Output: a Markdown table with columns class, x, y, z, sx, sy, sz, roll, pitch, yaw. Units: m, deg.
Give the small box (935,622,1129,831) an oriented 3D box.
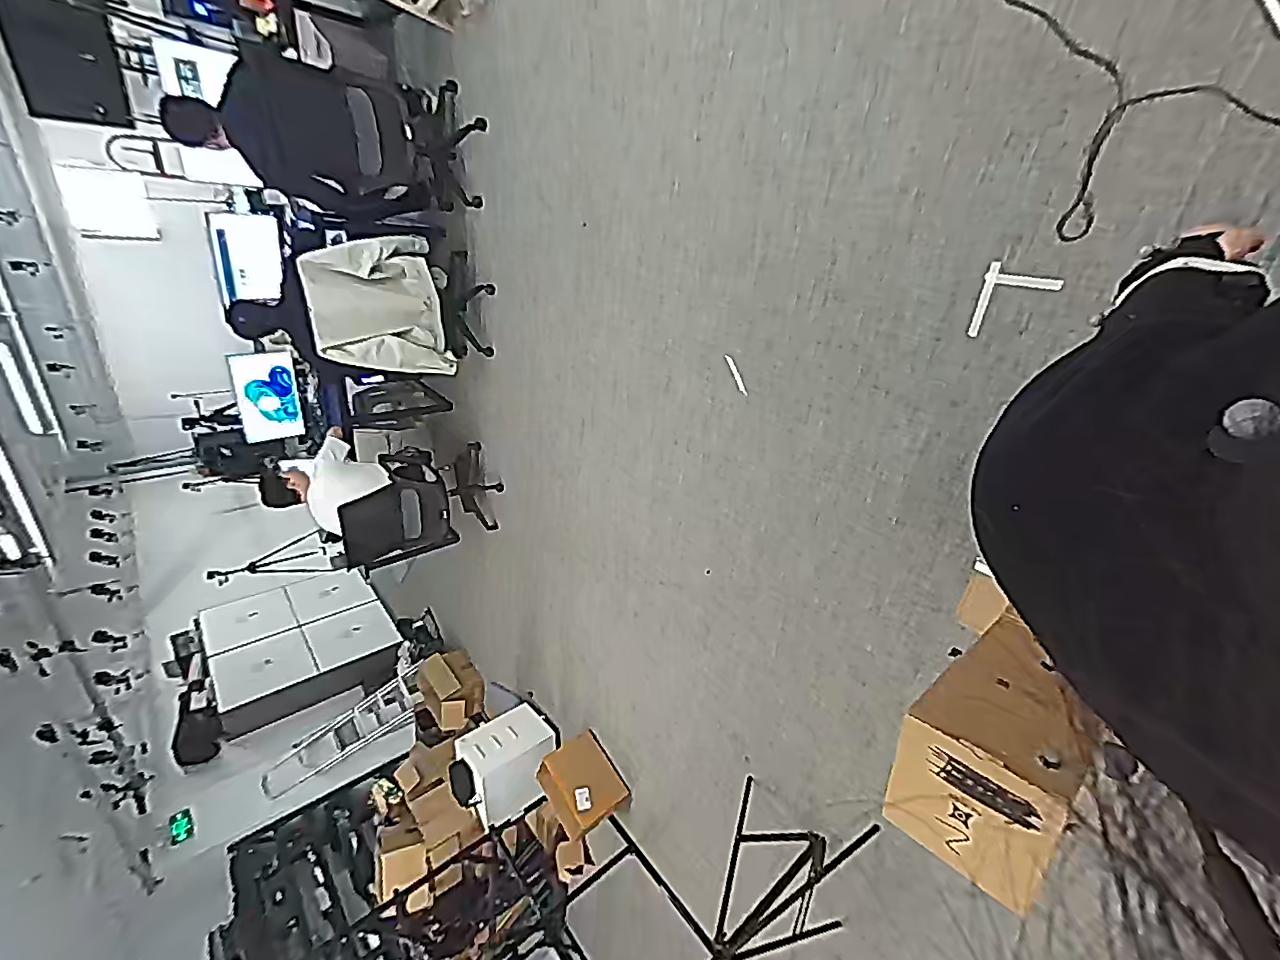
| class | x | y | z | sx | sy | sz | roll | pitch | yaw |
| --- | --- | --- | --- | --- | --- | --- | --- | --- | --- |
| small box | 0.556 | 0.332 | 0.769 | 0.168 | 0.176 | 0.179 | 24 | 120 | 46 |
